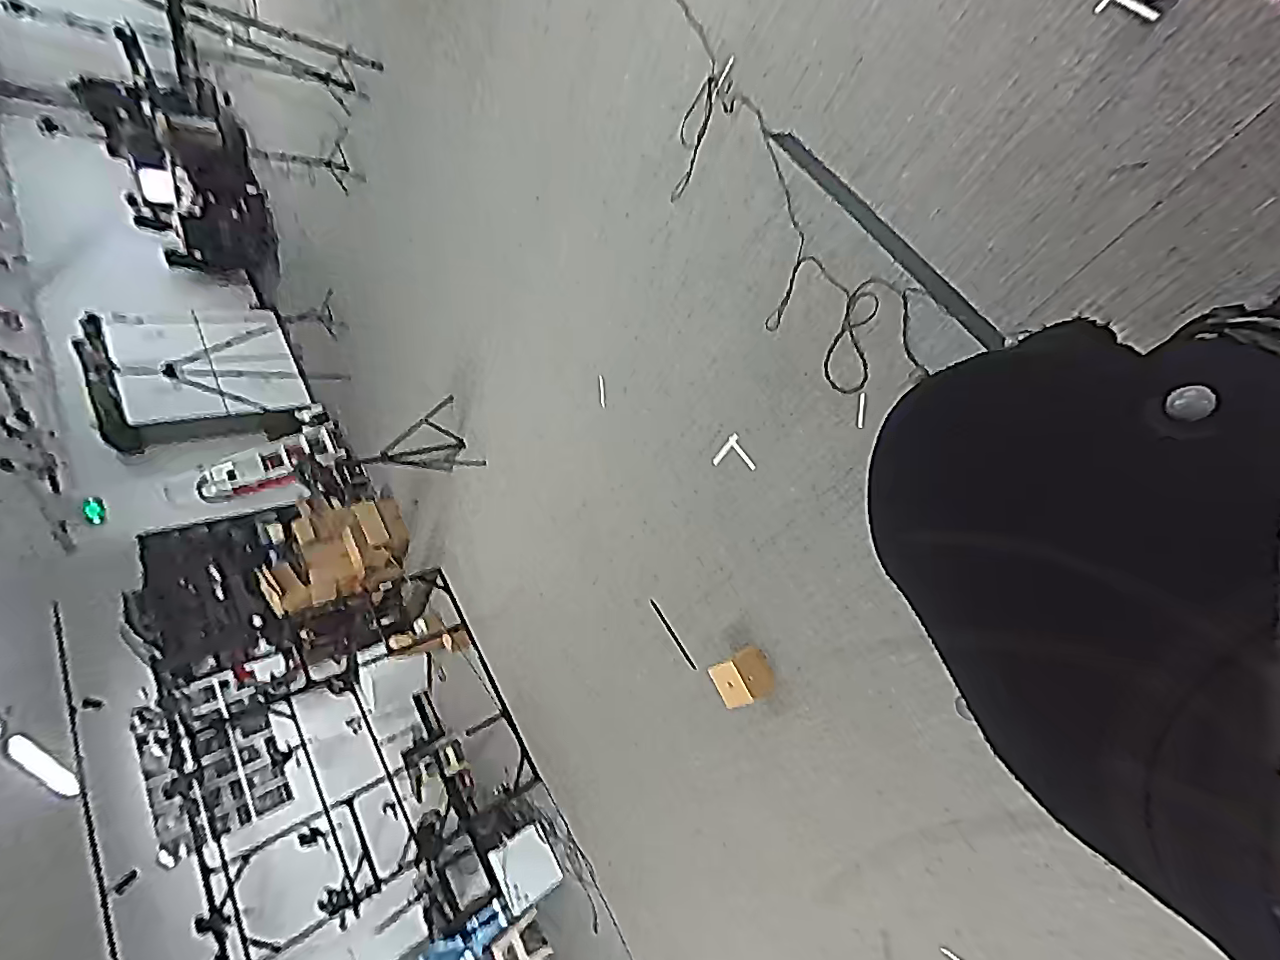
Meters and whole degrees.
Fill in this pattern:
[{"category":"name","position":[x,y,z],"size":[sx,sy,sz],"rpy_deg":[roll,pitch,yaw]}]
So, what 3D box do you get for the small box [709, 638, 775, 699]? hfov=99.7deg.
[{"category":"small box","position":[0.426,0.780,2.256],"size":[0.168,0.176,0.179],"rpy_deg":[-43,71,46]}]
